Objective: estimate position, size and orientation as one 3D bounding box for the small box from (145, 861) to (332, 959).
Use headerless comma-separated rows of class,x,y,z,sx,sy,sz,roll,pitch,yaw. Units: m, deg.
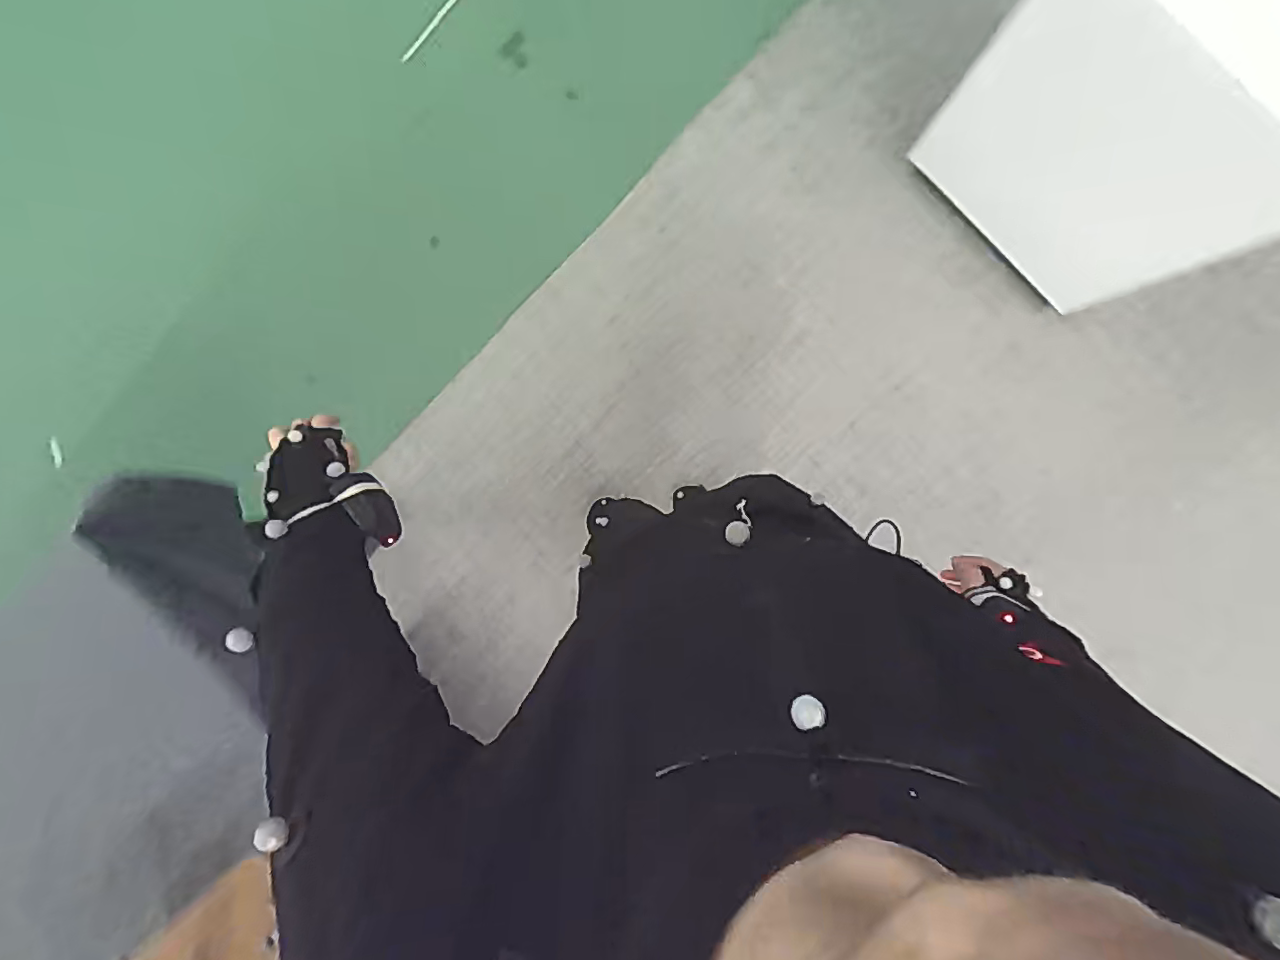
small box,-0.523,0.622,0.649,0.179,0.176,0.168,-43,88,6
